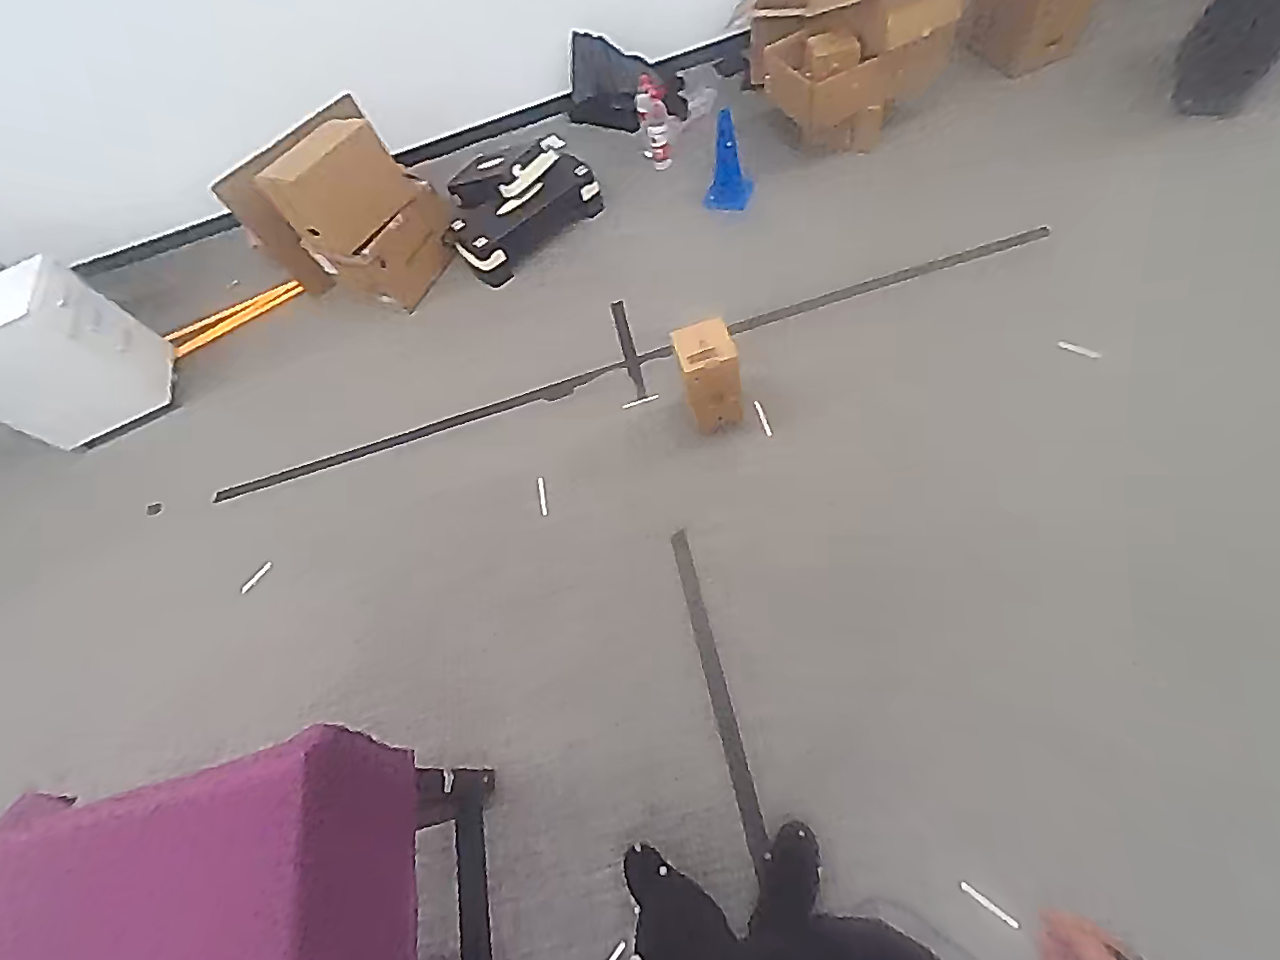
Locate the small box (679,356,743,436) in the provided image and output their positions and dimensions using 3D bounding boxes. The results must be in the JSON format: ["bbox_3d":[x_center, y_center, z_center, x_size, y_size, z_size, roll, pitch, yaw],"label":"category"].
[{"bbox_3d":[0.240,-0.281,1.825,0.168,0.176,0.179,-20,60,2],"label":"small box"}]
